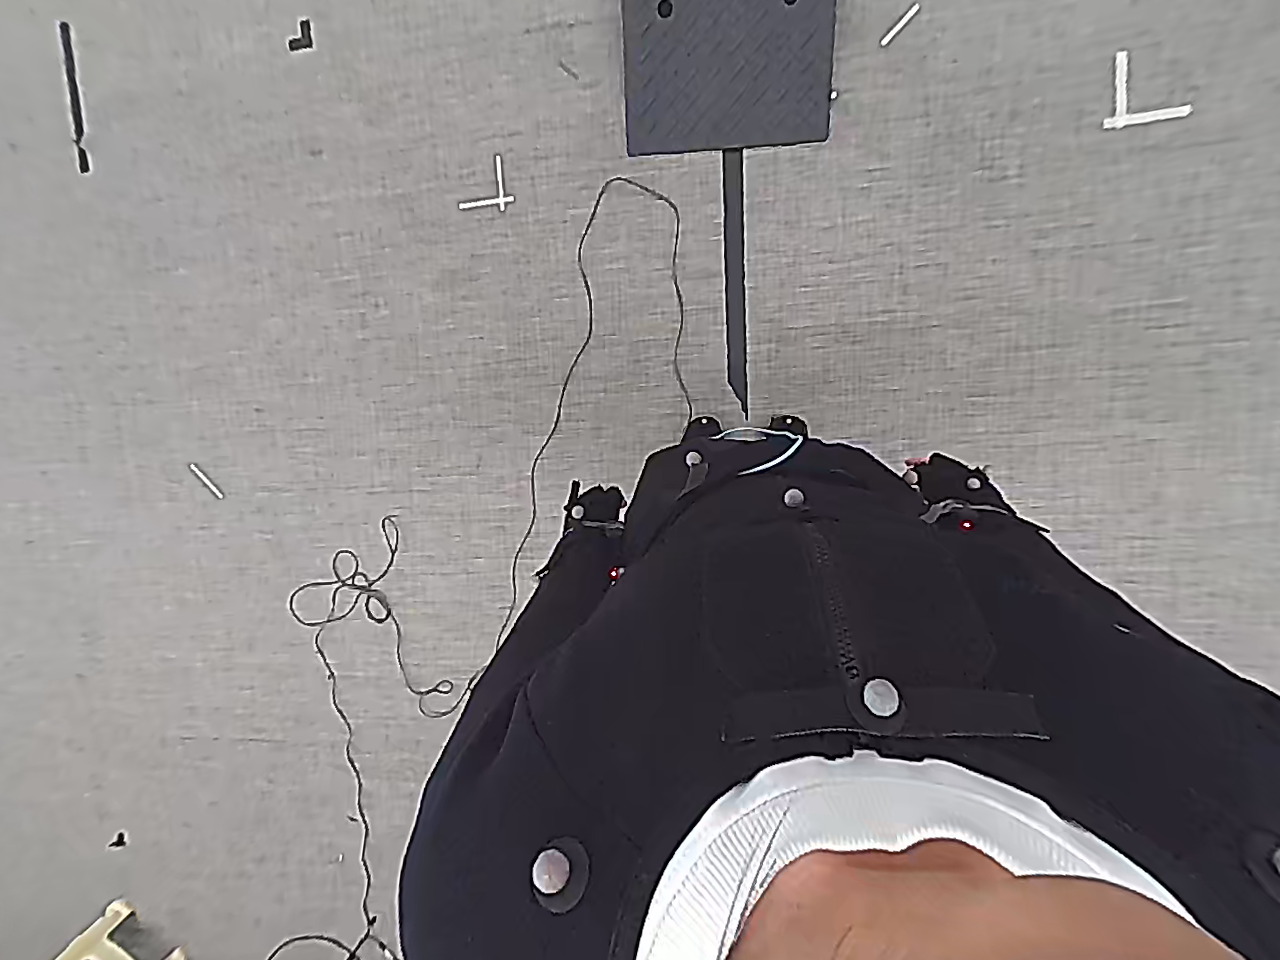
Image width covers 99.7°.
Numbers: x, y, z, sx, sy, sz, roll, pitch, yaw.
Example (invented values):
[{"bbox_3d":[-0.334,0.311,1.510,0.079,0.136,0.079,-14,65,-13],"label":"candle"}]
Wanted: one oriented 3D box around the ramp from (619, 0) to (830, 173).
[{"bbox_3d":[0.185,-1.277,1.225,0.509,0.206,0.991,-3,96,8],"label":"ramp"}]
